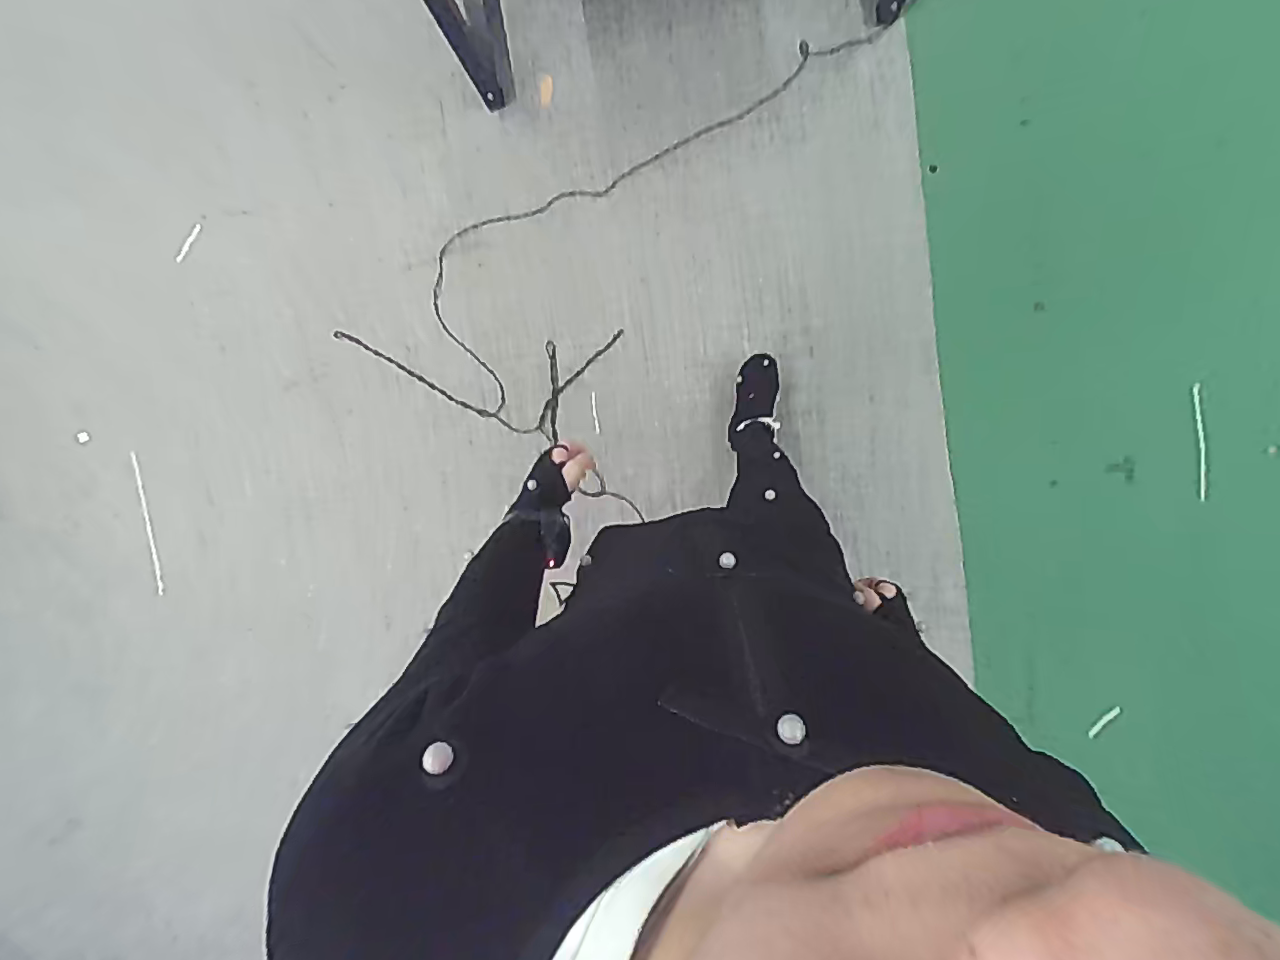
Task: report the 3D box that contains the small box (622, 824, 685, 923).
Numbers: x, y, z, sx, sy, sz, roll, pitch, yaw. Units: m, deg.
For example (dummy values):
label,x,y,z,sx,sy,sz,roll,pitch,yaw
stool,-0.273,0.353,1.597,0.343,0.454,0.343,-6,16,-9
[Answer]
label,x,y,z,sx,sy,sz,roll,pitch,yaw
small box,0.041,1.122,1.552,0.168,0.176,0.179,-4,93,5

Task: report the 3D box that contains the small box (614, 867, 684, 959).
label,x,y,z,sx,sy,sz,roll,pitch,yaw
small box,0.027,1.134,1.388,0.168,0.176,0.179,-4,93,5
